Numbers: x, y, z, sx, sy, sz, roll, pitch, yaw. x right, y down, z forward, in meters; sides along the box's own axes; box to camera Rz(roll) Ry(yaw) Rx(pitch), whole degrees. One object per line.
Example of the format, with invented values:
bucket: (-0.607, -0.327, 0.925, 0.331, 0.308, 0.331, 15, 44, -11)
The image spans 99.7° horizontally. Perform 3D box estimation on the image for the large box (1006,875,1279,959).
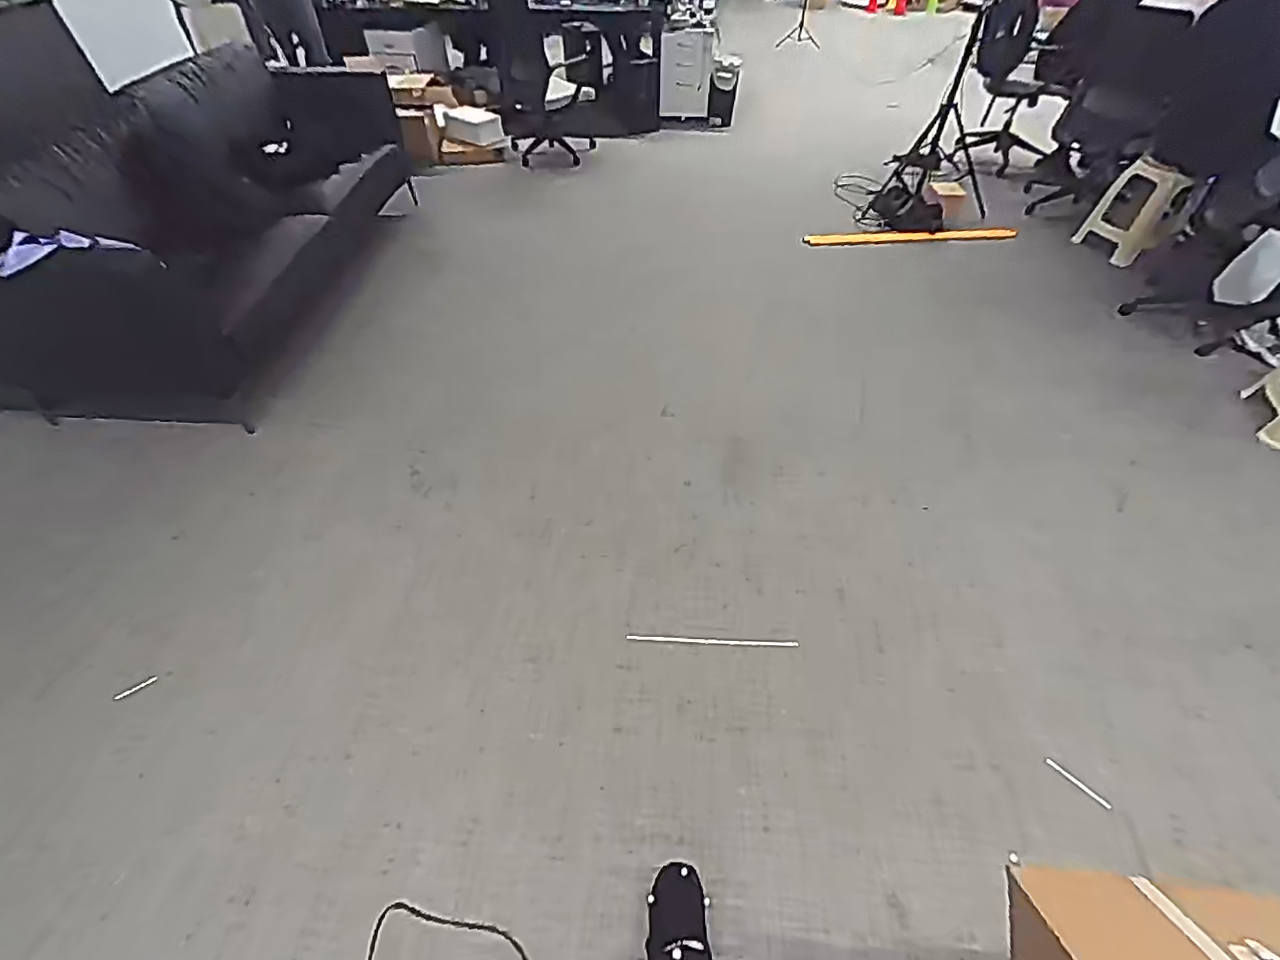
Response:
large box: (0.639, 0.703, 0.545, 0.320, 0.408, 0.320, 0, 87, 10)
